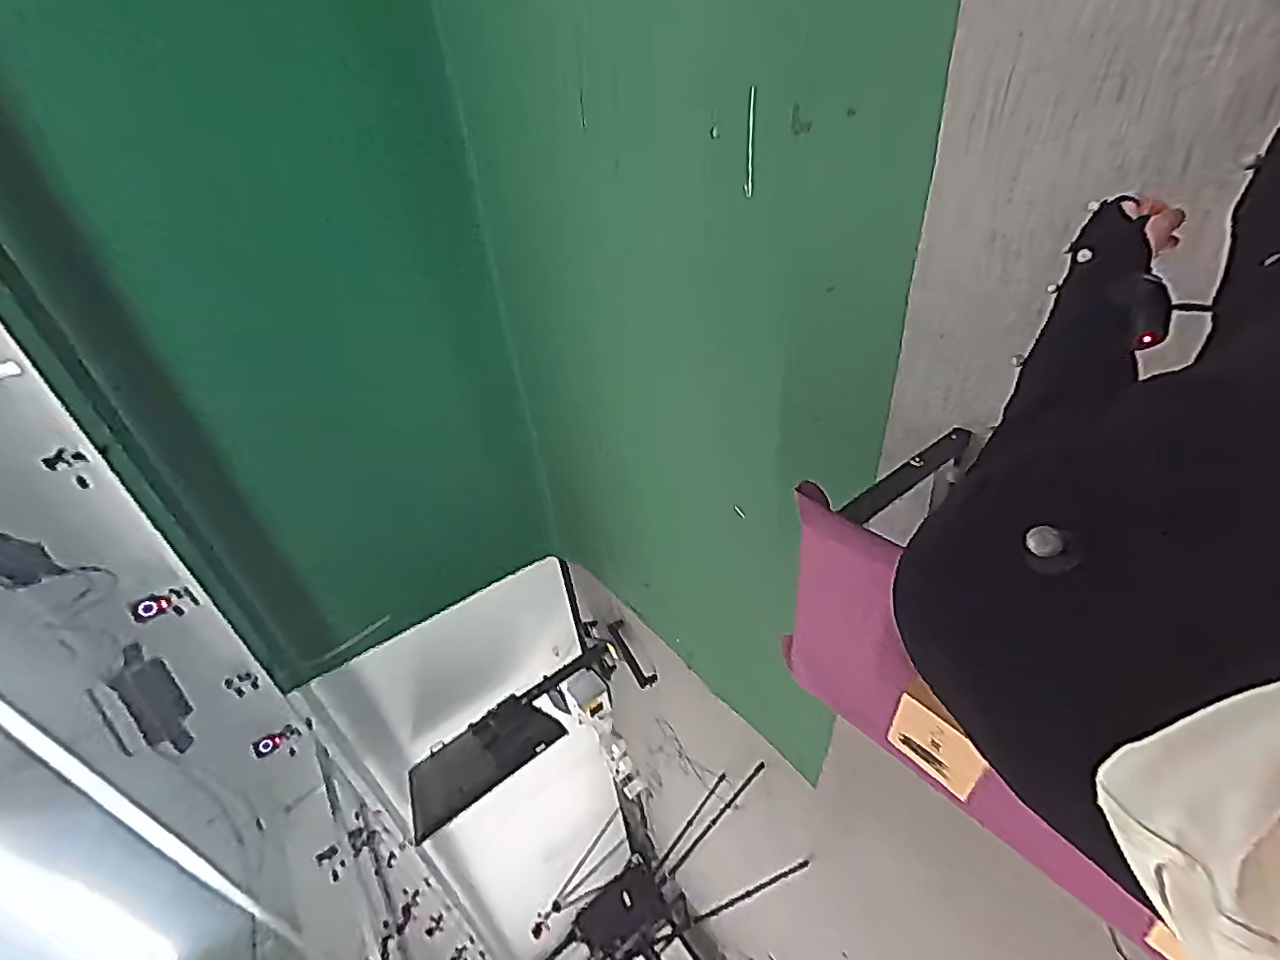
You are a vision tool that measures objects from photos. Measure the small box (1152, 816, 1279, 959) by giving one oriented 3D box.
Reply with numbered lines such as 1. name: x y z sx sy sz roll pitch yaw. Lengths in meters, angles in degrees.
1. small box: 0.904 0.648 0.787 0.168 0.176 0.179 28 136 48
